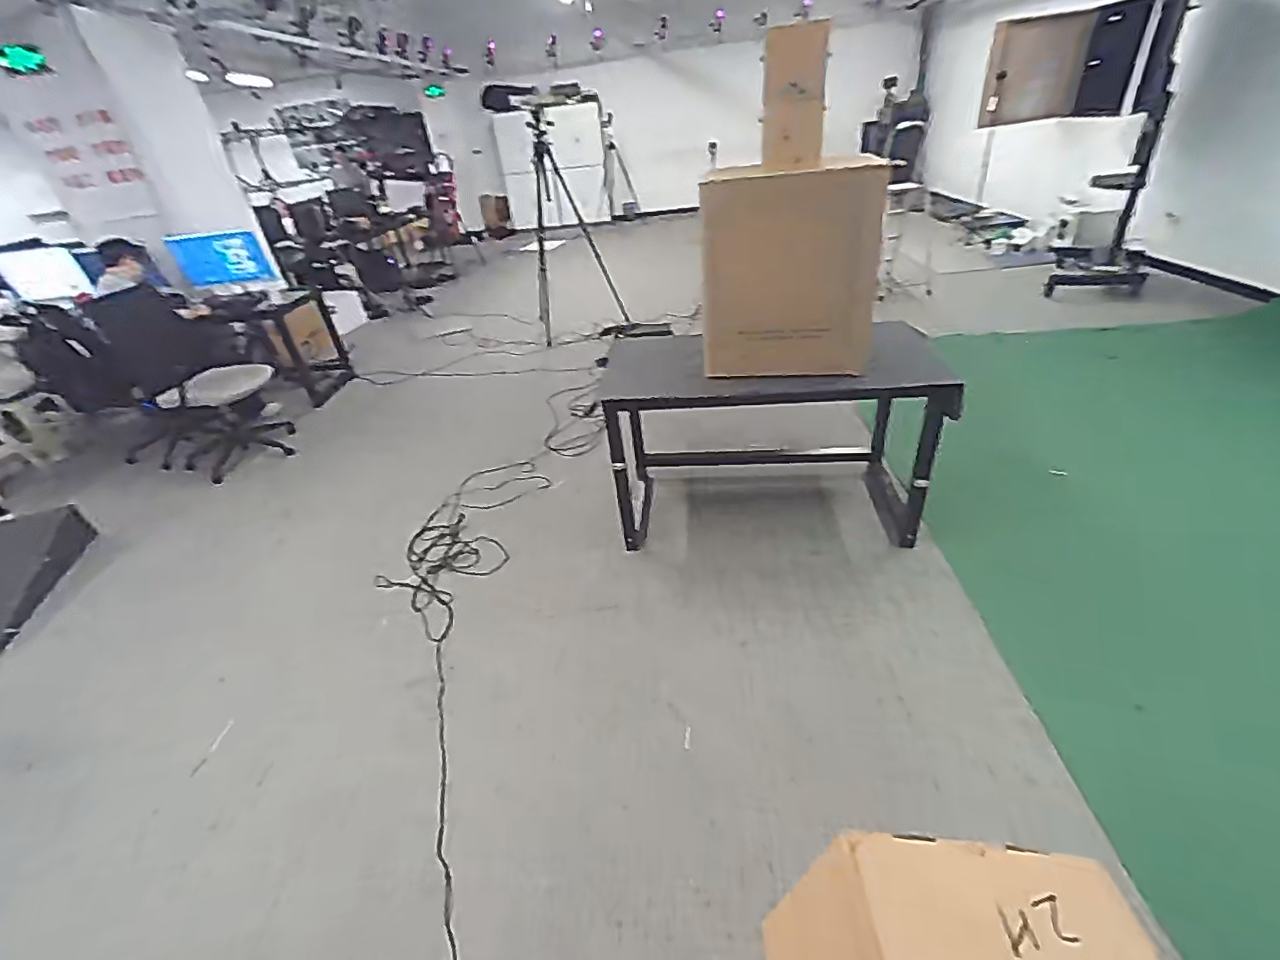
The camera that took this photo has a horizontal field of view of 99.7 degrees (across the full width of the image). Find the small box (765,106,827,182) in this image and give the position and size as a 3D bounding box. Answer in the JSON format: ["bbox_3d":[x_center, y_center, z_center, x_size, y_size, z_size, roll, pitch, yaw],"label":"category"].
[{"bbox_3d":[0.454,-0.979,1.582,0.168,0.176,0.179,2,36,14],"label":"small box"}]

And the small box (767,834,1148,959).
[{"bbox_3d":[0.185,0.342,0.308,0.168,0.176,0.179,10,34,-4],"label":"small box"}]
